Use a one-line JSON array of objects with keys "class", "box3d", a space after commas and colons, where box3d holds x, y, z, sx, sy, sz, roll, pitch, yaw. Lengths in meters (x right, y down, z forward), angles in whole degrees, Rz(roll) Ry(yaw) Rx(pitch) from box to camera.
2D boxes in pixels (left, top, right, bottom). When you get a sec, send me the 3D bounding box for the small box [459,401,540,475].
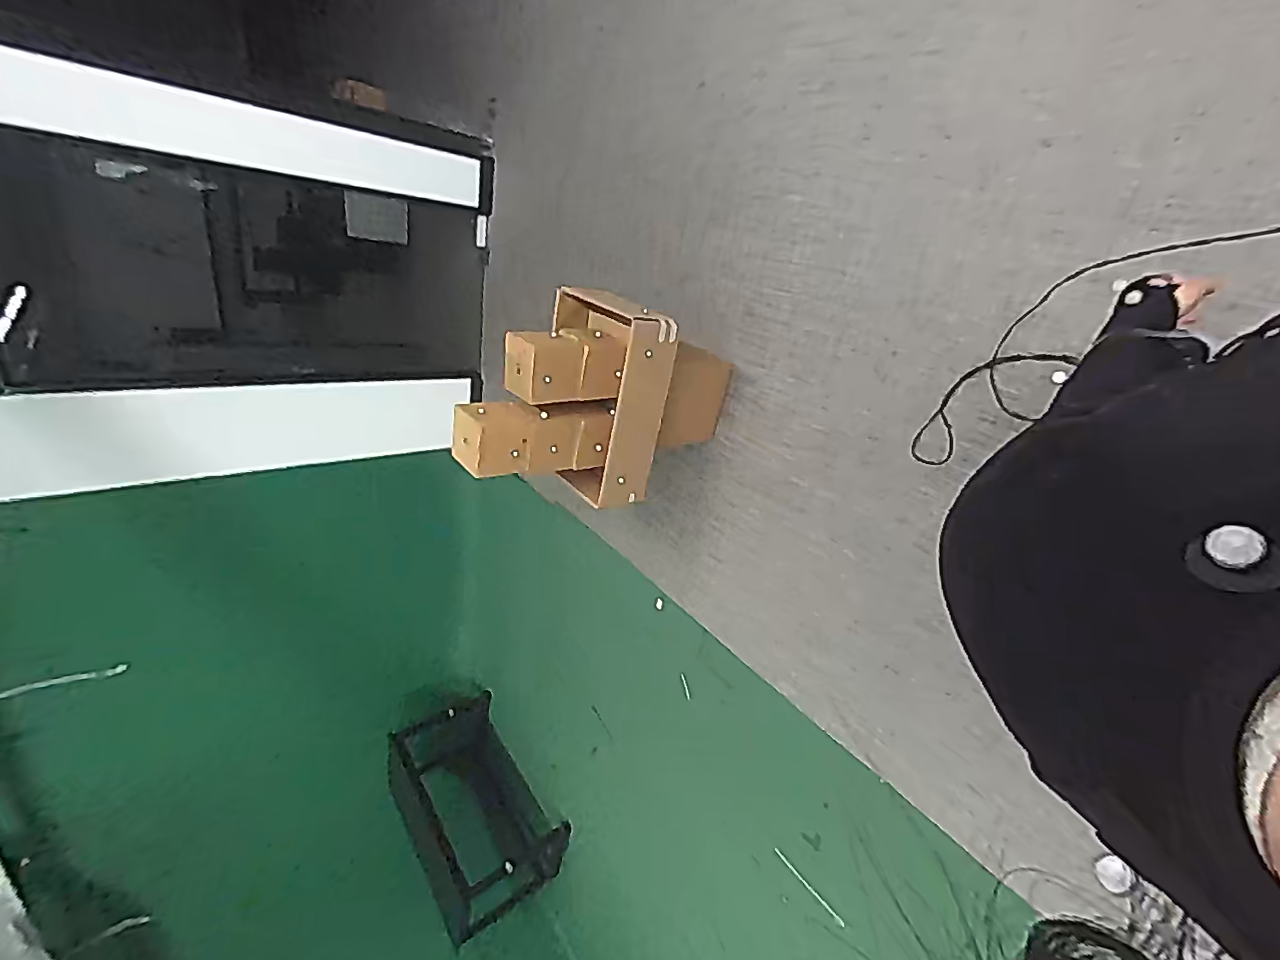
[{"class": "small box", "box3d": [-0.421, -0.130, 1.608, 0.179, 0.176, 0.168, 34, 122, 41]}]
